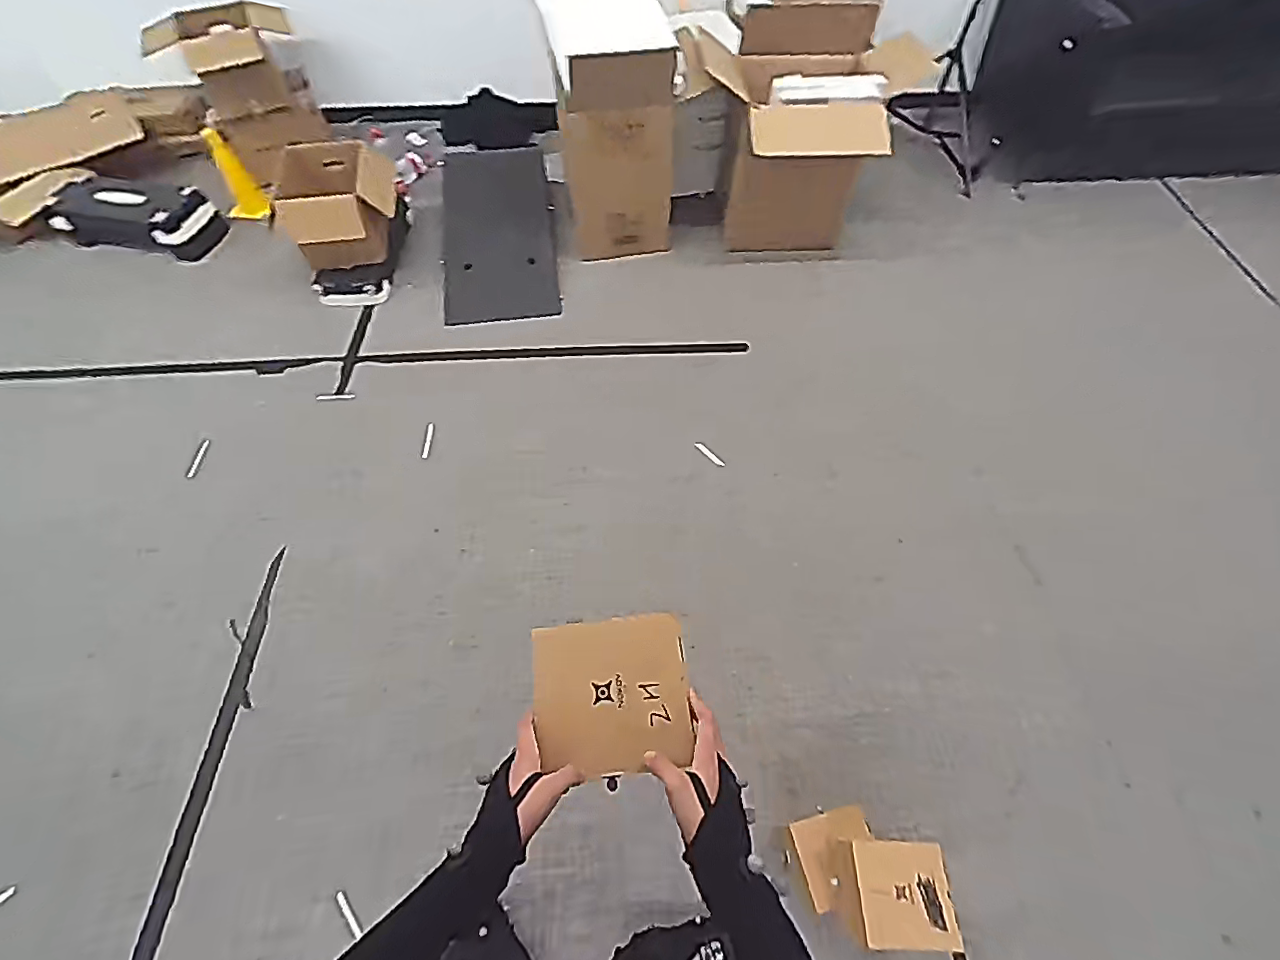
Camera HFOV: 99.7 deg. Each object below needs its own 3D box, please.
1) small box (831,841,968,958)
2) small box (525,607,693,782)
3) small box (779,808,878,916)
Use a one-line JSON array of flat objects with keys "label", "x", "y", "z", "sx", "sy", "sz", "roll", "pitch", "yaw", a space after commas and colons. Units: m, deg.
[{"label": "small box", "x": 0.500, "y": 0.817, "z": 1.068, "sx": 0.179, "sy": 0.176, "sz": 0.168, "roll": 1, "pitch": 57, "yaw": 1}, {"label": "small box", "x": -0.035, "y": 0.266, "z": 0.665, "sx": 0.179, "sy": 0.176, "sz": 0.168, "roll": -7, "pitch": 65, "yaw": -2}, {"label": "small box", "x": 0.439, "y": 0.861, "z": 1.233, "sx": 0.179, "sy": 0.176, "sz": 0.168, "roll": -11, "pitch": 58, "yaw": -7}]
